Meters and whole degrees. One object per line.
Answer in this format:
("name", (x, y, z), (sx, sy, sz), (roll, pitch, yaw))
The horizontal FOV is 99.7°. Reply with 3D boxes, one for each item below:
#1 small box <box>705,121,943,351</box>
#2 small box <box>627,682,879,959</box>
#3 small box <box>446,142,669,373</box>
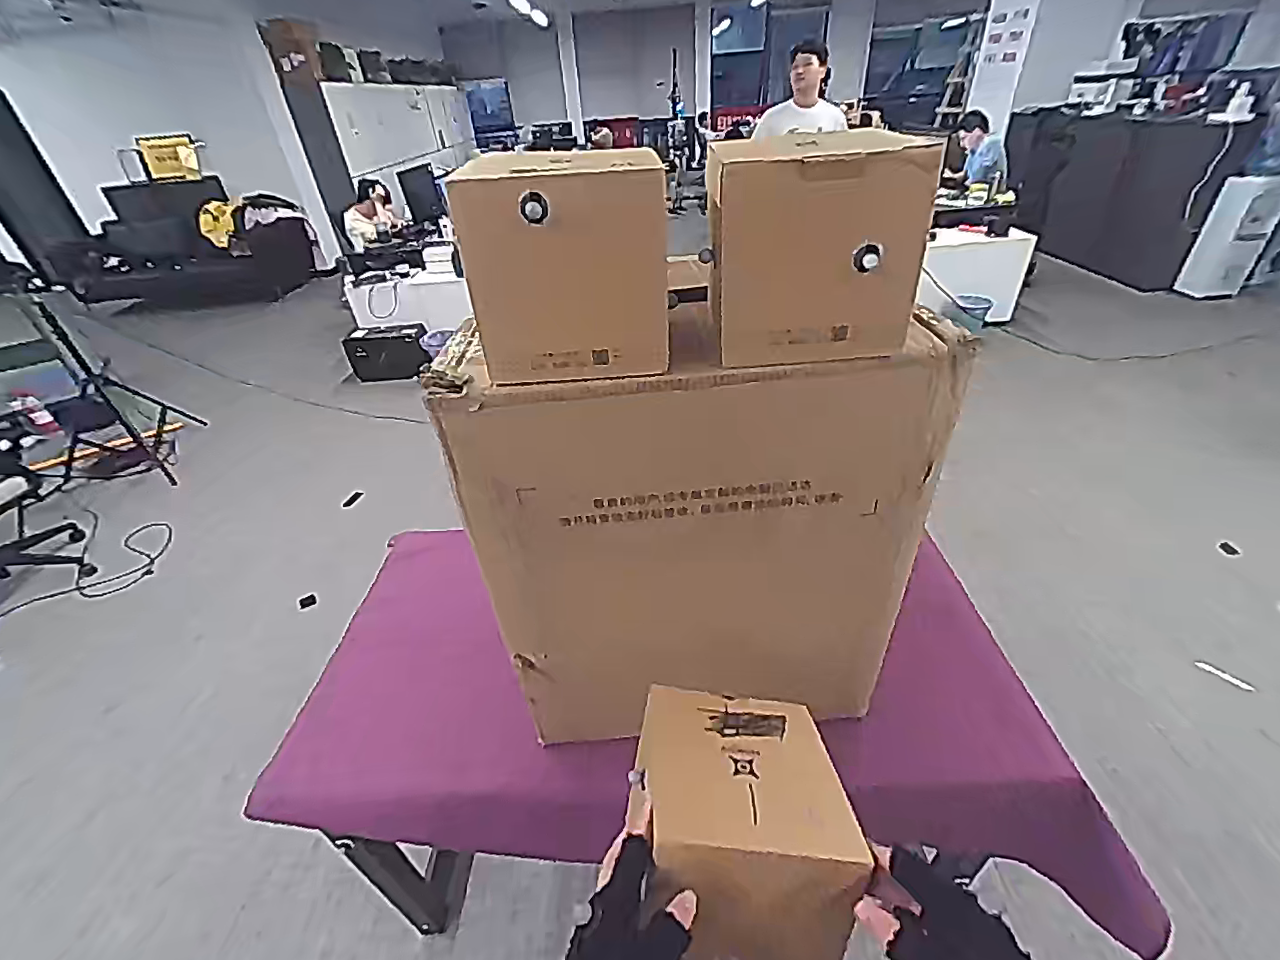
("small box", (0.151, -0.228, 0.511), (0.168, 0.176, 0.179), (-2, 35, 3))
("small box", (0.080, 0.313, 0.484), (0.168, 0.176, 0.179), (7, 14, -2))
("small box", (-0.061, -0.213, 0.510), (0.168, 0.176, 0.179), (-4, 35, 0))
